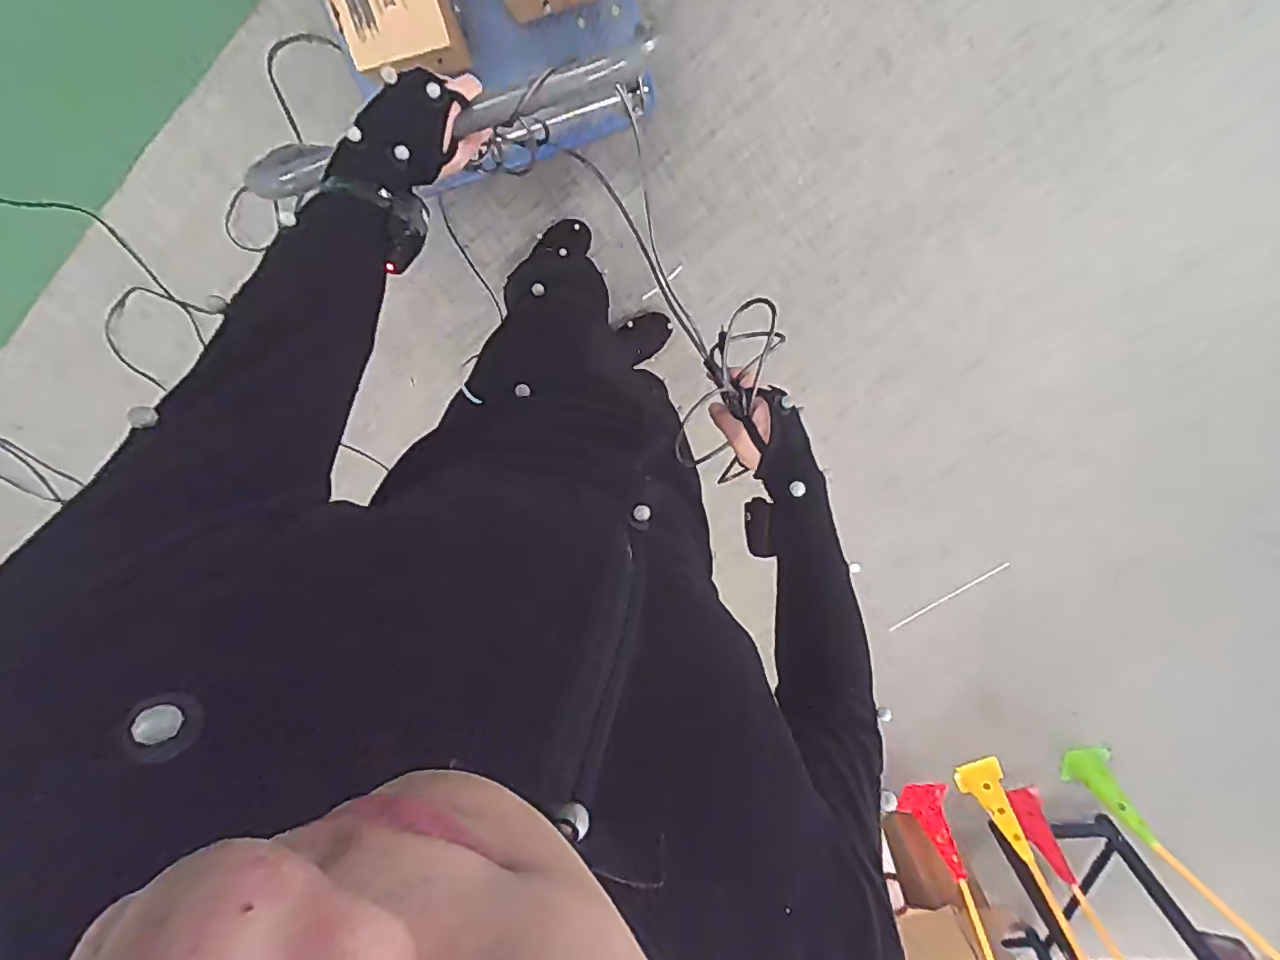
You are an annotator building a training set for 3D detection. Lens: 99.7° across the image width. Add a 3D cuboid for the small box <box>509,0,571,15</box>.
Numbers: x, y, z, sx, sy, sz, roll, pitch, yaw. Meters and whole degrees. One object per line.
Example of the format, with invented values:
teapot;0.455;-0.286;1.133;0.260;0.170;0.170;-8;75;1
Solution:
small box;-0.180;-0.942;0.919;0.168;0.176;0.179;-13;119;6
